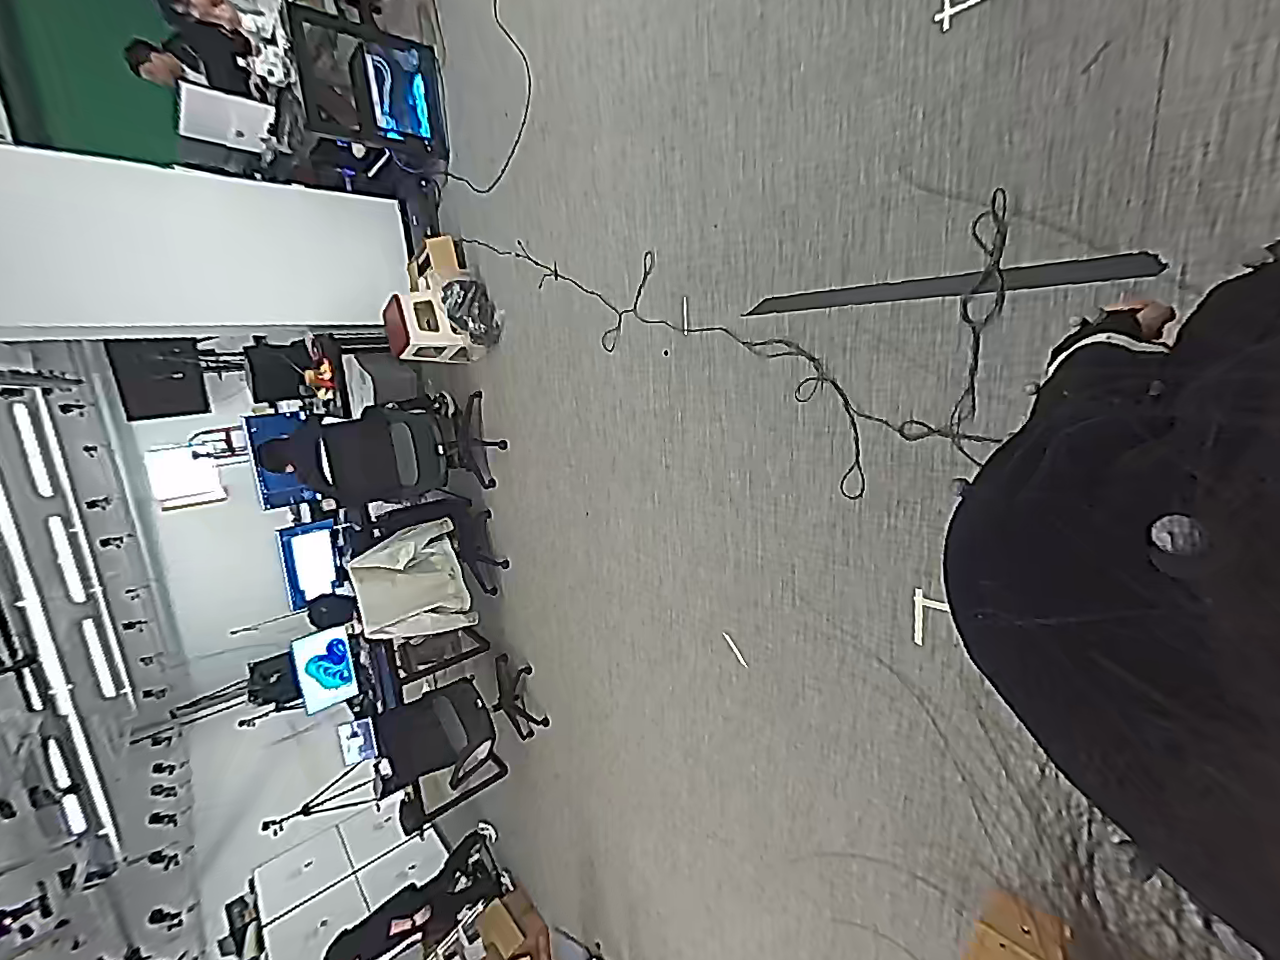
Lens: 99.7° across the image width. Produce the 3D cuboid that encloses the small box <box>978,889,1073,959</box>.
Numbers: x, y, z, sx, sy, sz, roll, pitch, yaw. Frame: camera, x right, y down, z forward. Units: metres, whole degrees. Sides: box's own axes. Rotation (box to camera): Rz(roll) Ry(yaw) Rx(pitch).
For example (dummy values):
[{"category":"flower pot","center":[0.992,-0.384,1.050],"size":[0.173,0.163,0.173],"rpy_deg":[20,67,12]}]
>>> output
[{"category":"small box","center":[1.031,1.260,1.456],"size":[0.179,0.176,0.168],"rpy_deg":[12,110,47]}]

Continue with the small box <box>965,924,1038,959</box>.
[{"category":"small box","center":[0.911,1.281,1.348],"size":[0.168,0.176,0.179],"rpy_deg":[9,109,49]}]
